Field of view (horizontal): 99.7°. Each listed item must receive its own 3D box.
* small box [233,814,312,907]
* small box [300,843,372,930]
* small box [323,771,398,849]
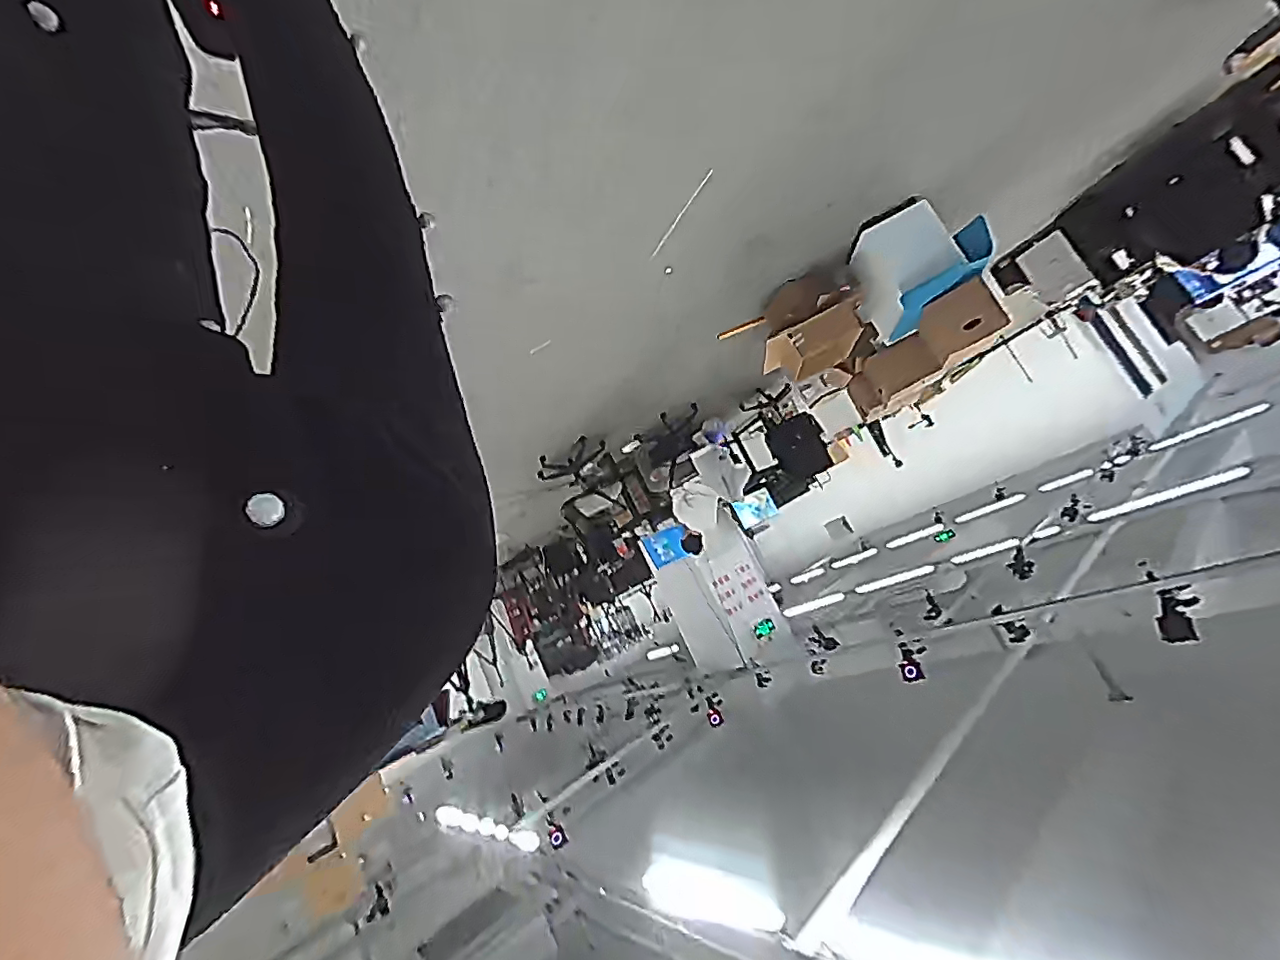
[{"bbox_3d":[-1.165,1.196,1.716,0.179,0.176,0.168,-19,168,-37],"label":"small box"},{"bbox_3d":[-1.000,1.314,1.774,0.168,0.176,0.179,-18,167,-37],"label":"small box"},{"bbox_3d":[-0.969,1.133,1.870,0.179,0.176,0.168,-16,165,-41],"label":"small box"}]
